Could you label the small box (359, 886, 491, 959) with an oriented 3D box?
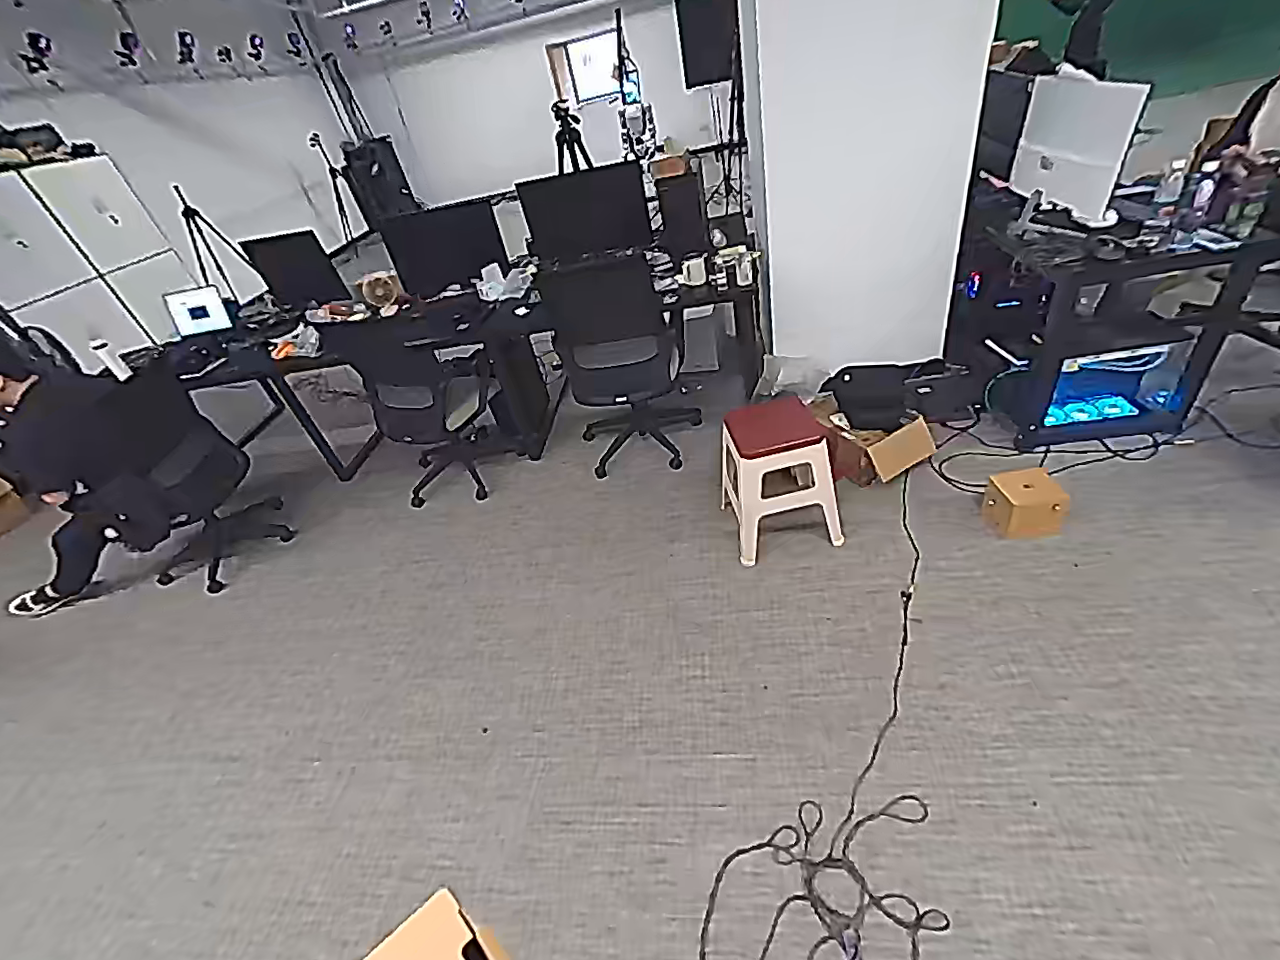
[{"bbox_3d":[-0.230,0.577,0.547,0.168,0.176,0.179,37,43,28],"label":"small box"}]
